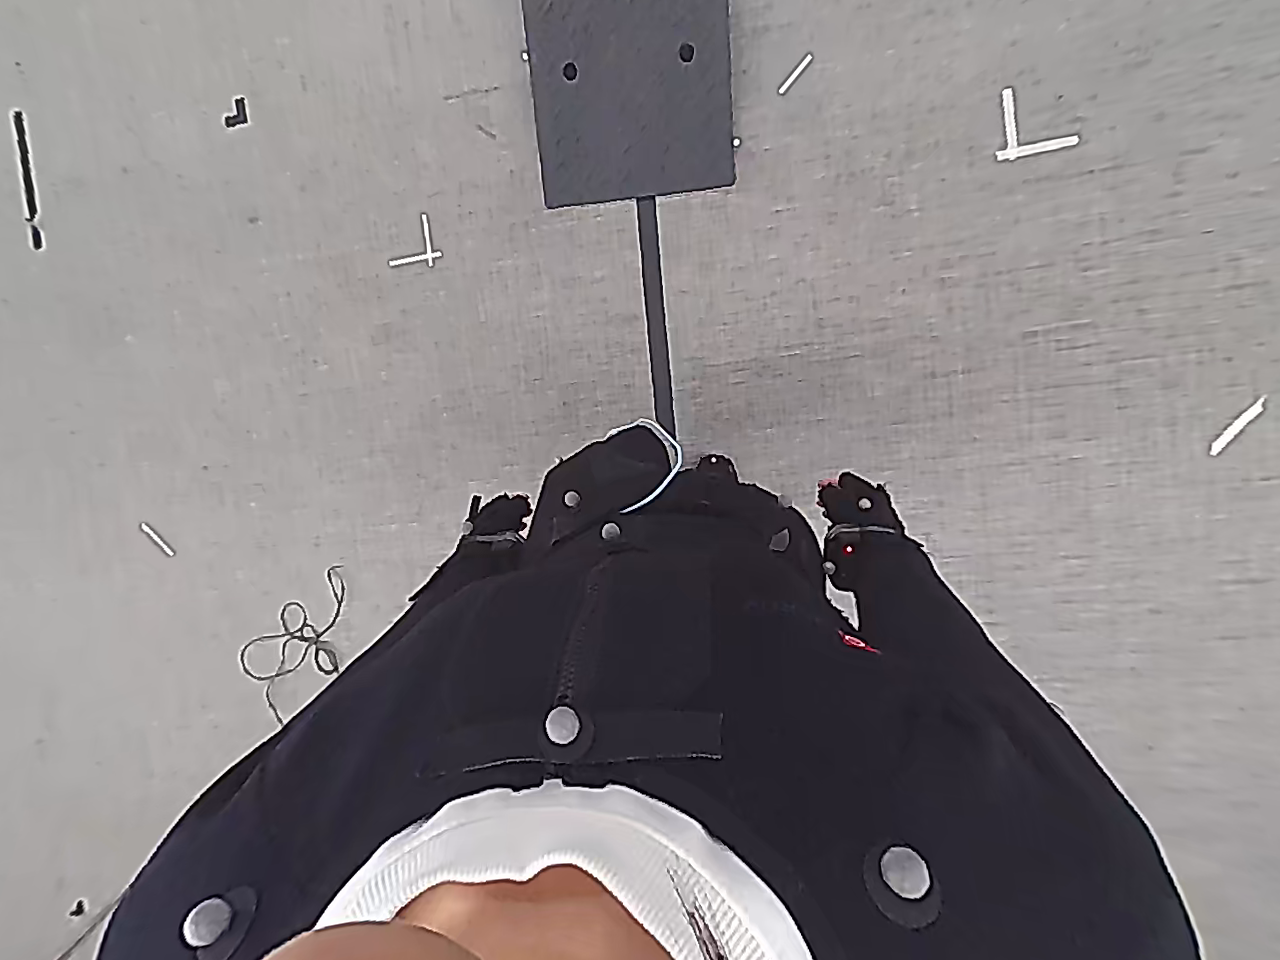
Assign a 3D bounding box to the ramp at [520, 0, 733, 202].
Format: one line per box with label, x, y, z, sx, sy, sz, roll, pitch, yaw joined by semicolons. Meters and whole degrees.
ramp;-0.050;-1.215;1.245;0.509;0.206;0.991;-5;95;7
